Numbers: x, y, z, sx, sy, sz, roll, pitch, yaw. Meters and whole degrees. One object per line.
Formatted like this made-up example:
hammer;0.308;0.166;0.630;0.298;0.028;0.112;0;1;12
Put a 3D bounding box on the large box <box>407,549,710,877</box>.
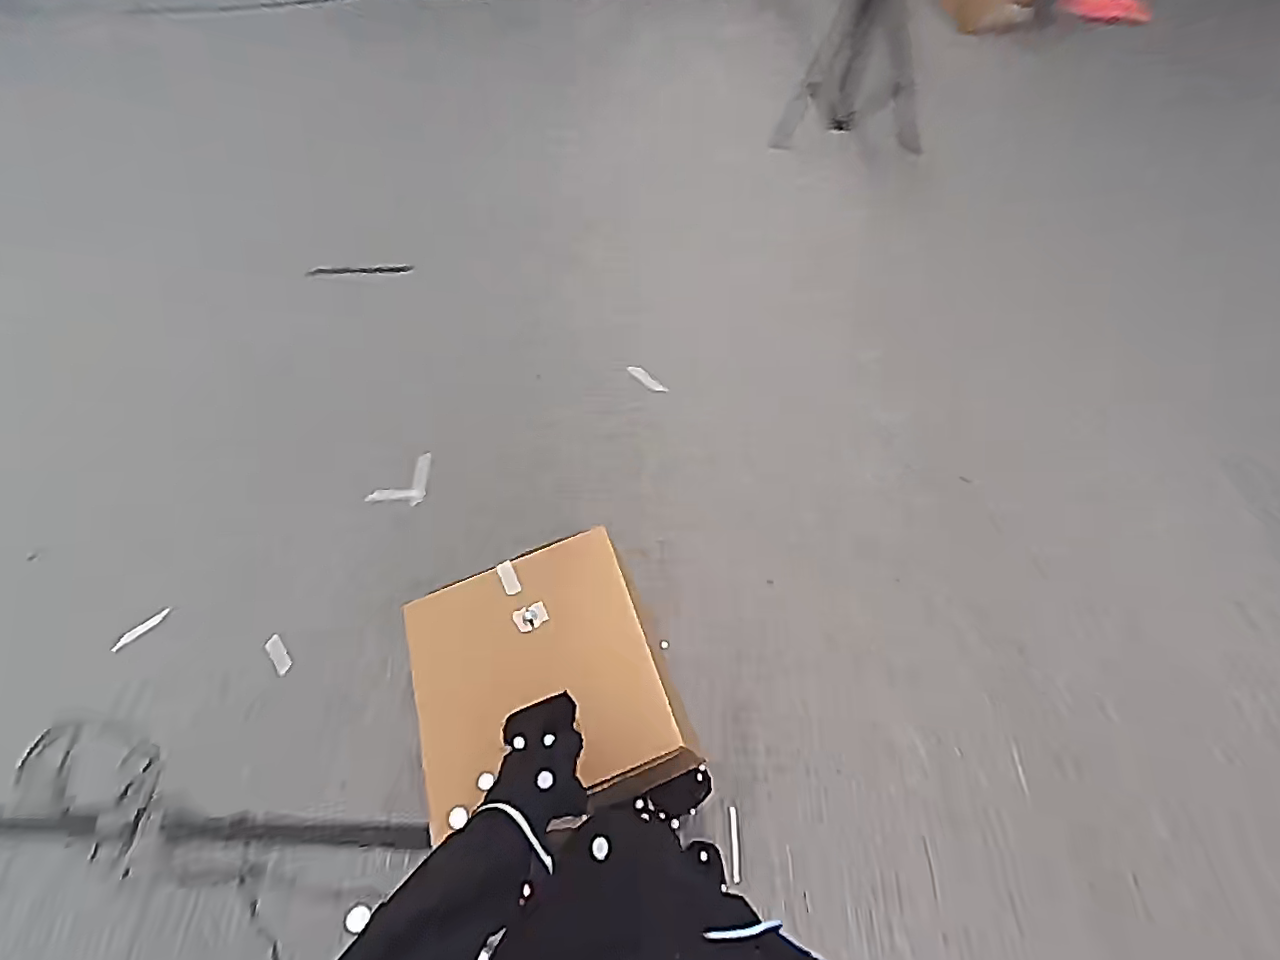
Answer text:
large box;-0.104;0.360;0.860;0.320;0.408;0.320;-23;60;-2
